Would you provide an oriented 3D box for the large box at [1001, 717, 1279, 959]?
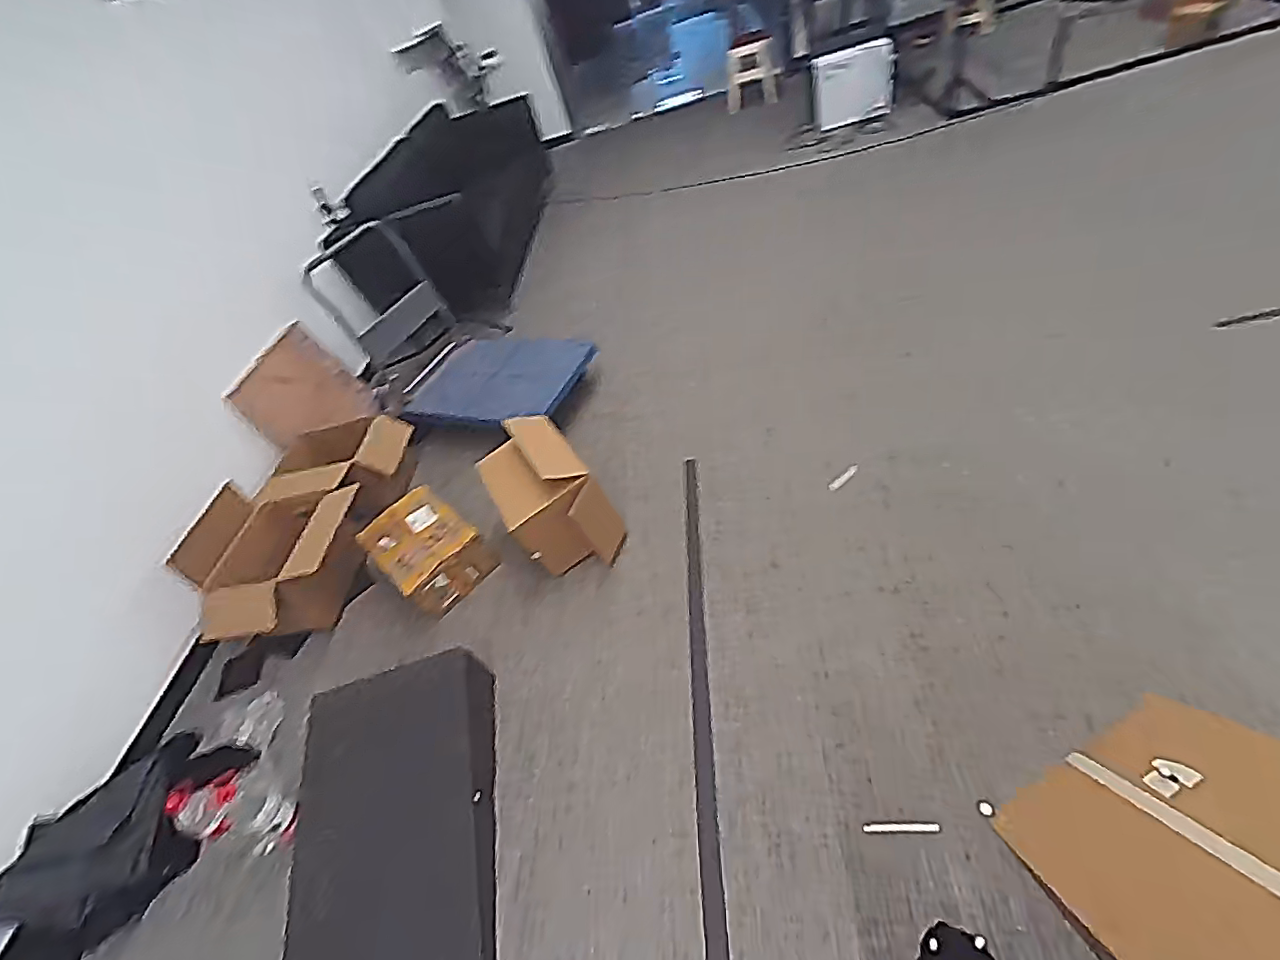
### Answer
[{"bbox_3d":[0.716,0.530,0.575,0.320,0.408,0.320,-36,80,3],"label":"large box"}]
